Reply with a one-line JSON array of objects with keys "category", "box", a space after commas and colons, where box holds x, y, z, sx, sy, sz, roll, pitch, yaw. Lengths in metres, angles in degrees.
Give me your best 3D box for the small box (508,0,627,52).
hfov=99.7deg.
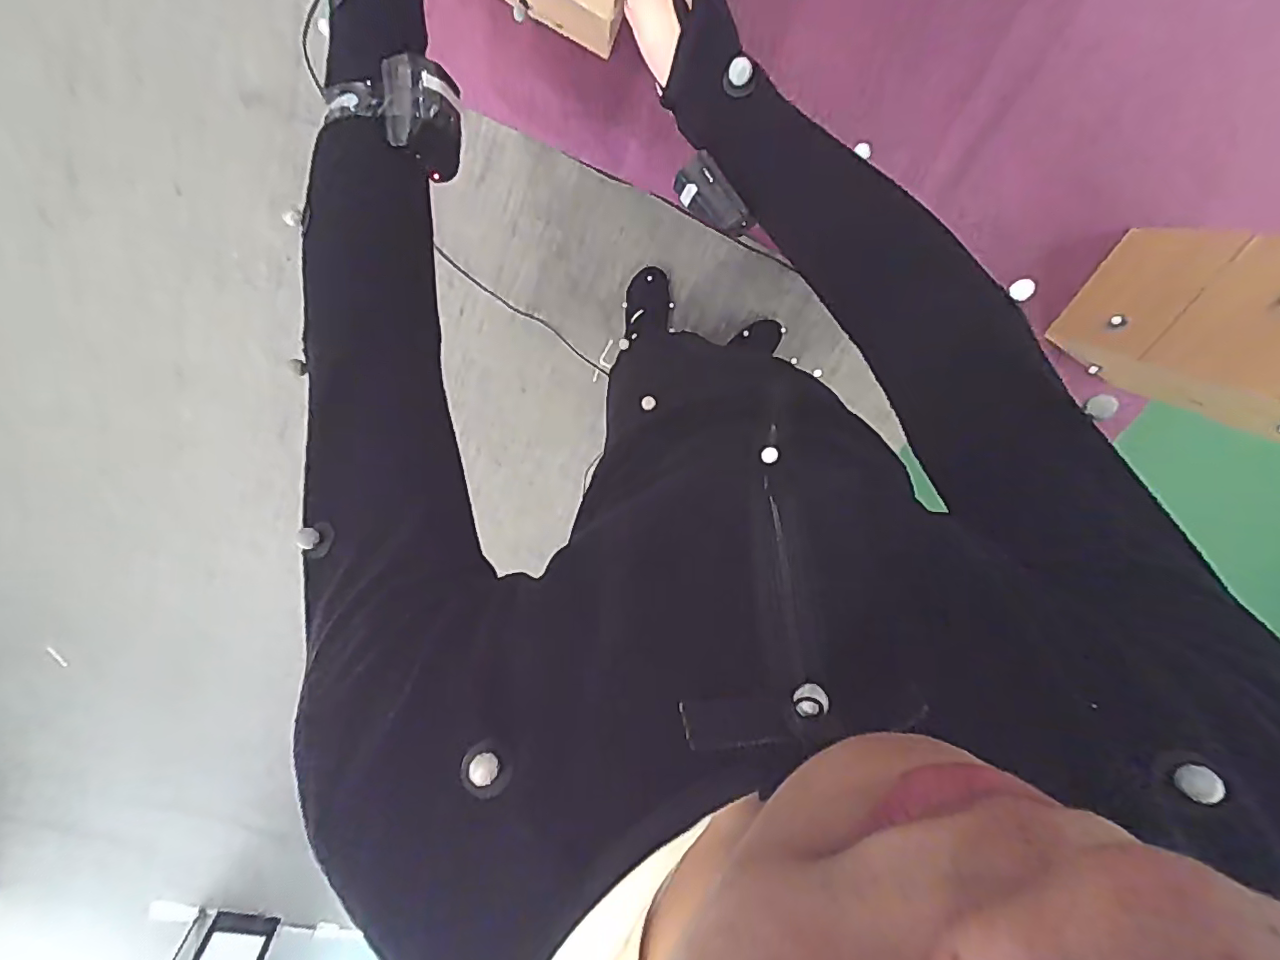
[{"category": "small box", "box": [-0.071, -0.565, 0.517, 0.168, 0.176, 0.179, 21, 113, -14]}]
